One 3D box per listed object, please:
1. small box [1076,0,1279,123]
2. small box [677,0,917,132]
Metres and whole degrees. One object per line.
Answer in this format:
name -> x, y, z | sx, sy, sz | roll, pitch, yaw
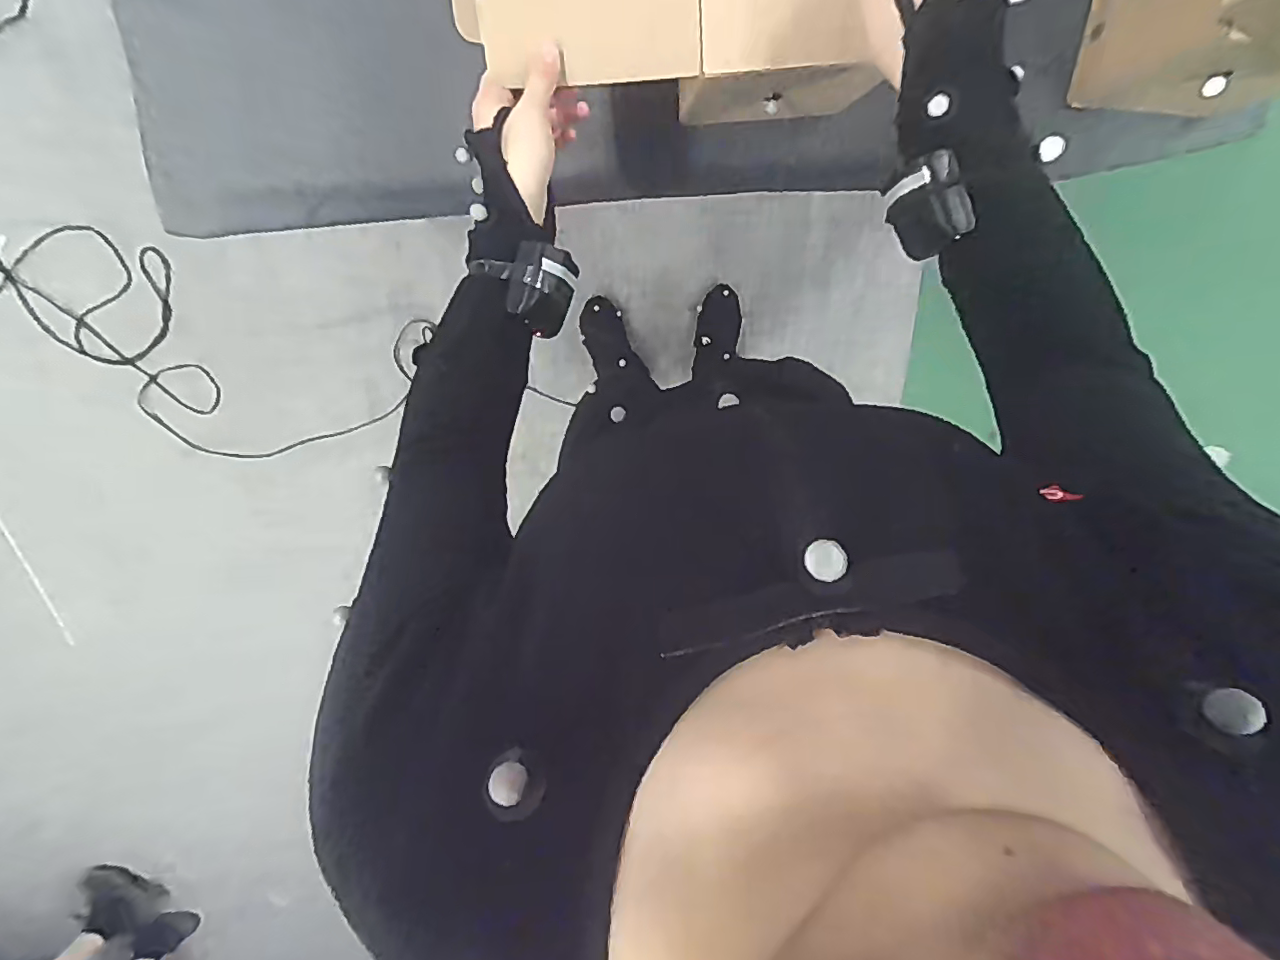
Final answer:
small box -> 0.562, -0.449, 0.496 | 0.179, 0.176, 0.168 | 2, 109, -2
small box -> 0.128, -0.431, 0.488 | 0.179, 0.176, 0.168 | -3, 111, 1
